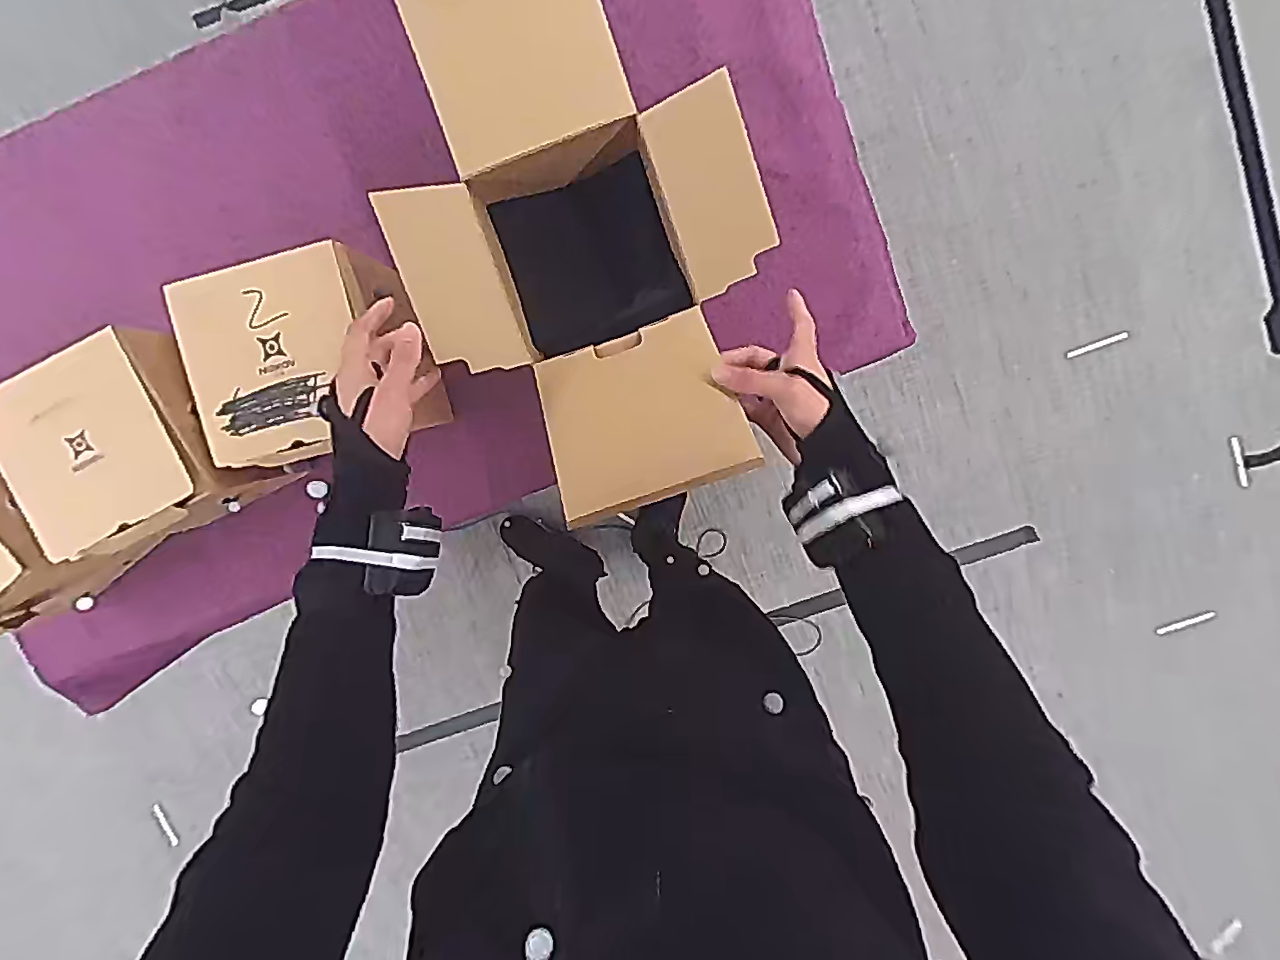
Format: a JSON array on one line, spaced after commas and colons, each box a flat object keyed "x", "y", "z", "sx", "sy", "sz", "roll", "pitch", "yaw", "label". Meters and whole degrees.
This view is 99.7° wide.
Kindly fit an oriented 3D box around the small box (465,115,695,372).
[{"x": -0.051, "y": -0.221, "z": 0.559, "sx": 0.168, "sy": 0.176, "sz": 0.179, "roll": -18, "pitch": 98, "yaw": 4, "label": "small box"}]
